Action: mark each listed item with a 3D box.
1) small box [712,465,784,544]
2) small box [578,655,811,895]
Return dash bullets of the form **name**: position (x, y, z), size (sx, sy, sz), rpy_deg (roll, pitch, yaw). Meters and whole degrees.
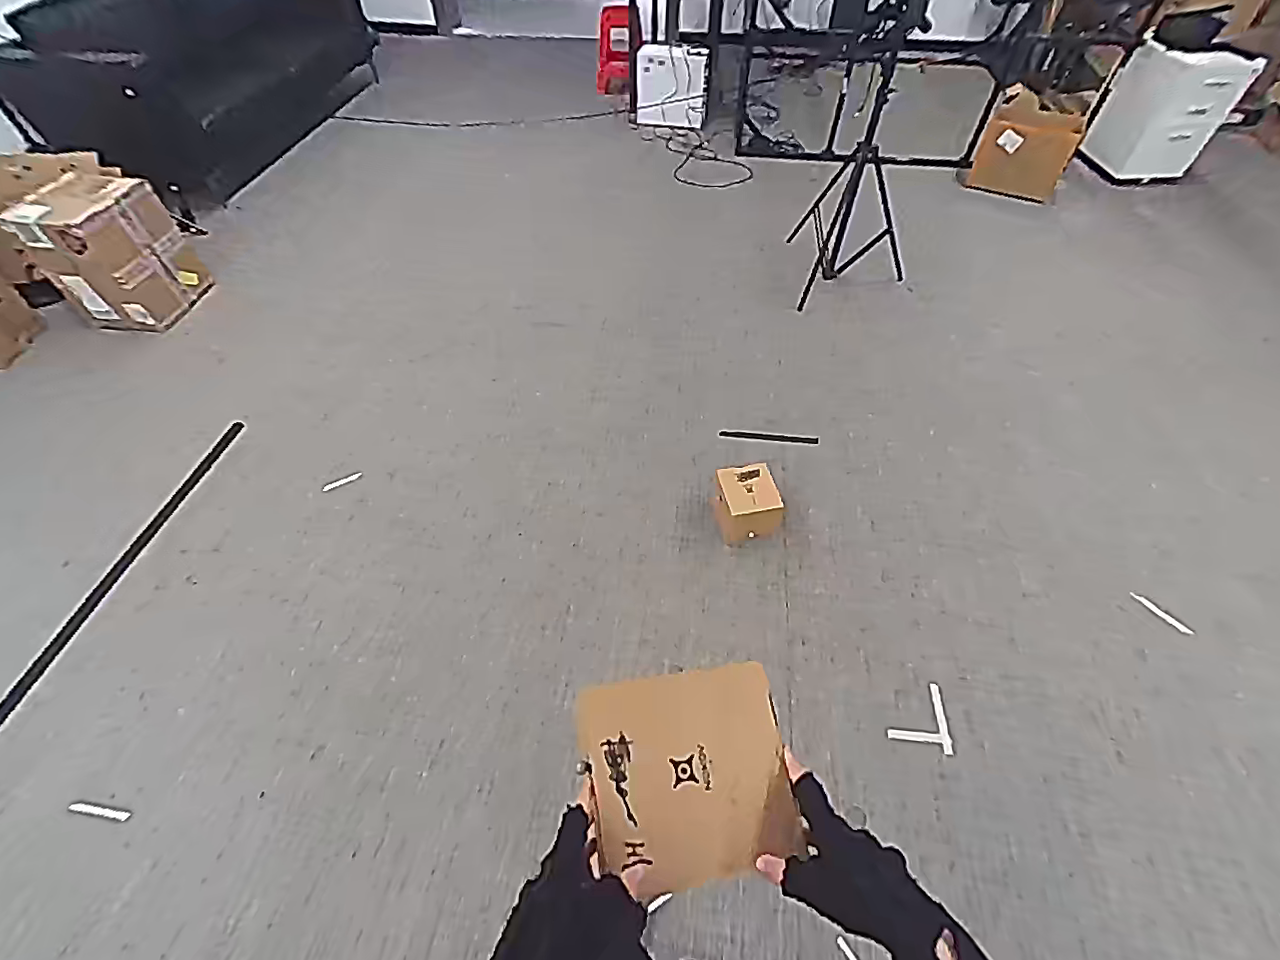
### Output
- **small box**: position (0.334, 0.080, 1.717), size (0.168, 0.176, 0.179), rpy_deg (-9, 53, -6)
- **small box**: position (0.036, 0.281, 0.539), size (0.179, 0.176, 0.168), rpy_deg (-4, 63, -12)
